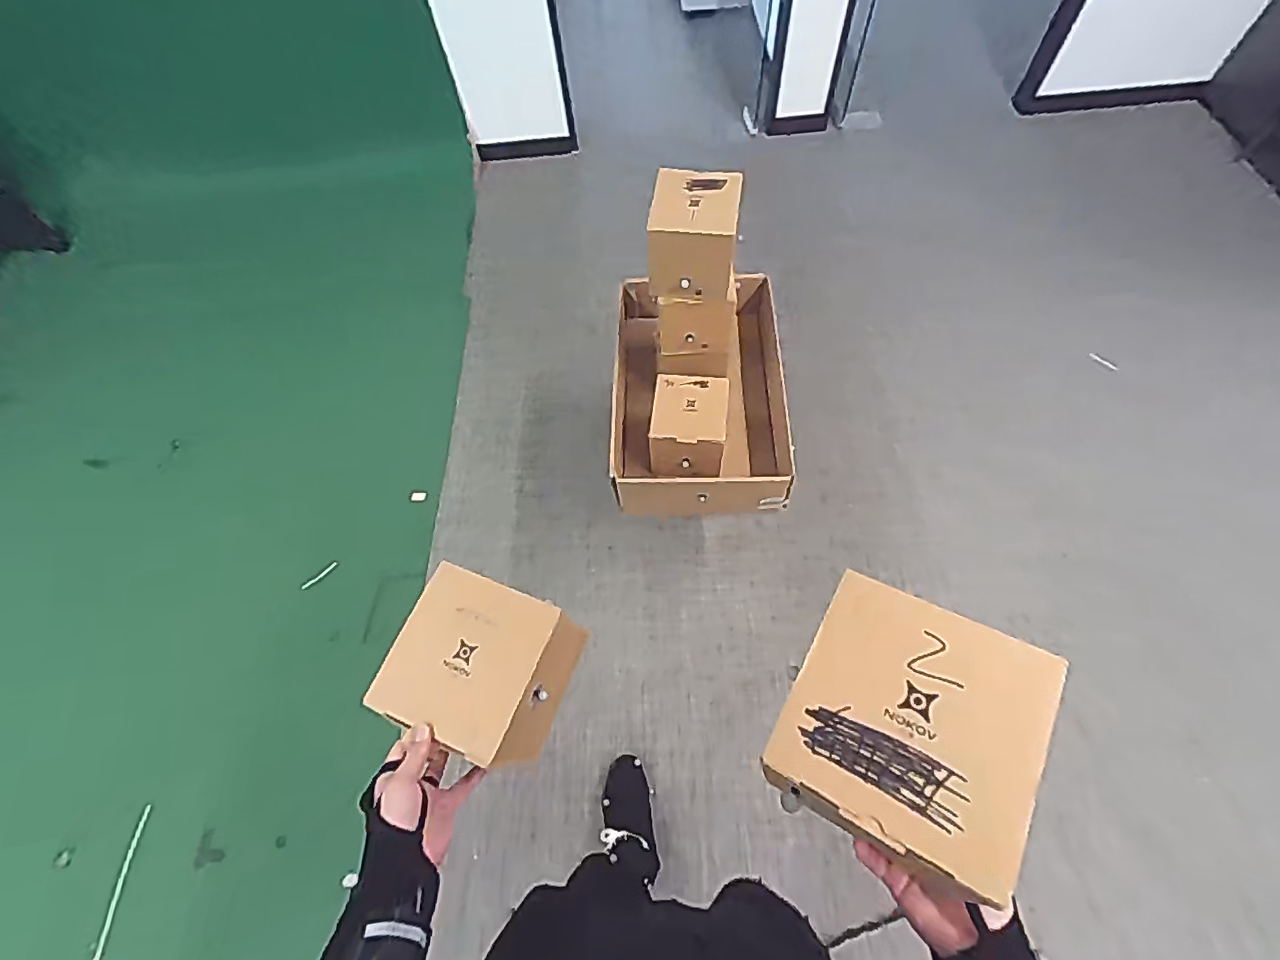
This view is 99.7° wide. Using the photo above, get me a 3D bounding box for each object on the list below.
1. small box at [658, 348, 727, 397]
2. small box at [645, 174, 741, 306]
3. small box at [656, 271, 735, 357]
[{"bbox_3d":[0.131,-0.333,1.385,0.168,0.176,0.179,-2,63,4],"label":"small box"},{"bbox_3d":[0.106,-0.484,1.097,0.168,0.176,0.179,7,64,7],"label":"small box"},{"bbox_3d":[0.121,-0.405,1.241,0.168,0.176,0.179,-2,63,3],"label":"small box"}]
